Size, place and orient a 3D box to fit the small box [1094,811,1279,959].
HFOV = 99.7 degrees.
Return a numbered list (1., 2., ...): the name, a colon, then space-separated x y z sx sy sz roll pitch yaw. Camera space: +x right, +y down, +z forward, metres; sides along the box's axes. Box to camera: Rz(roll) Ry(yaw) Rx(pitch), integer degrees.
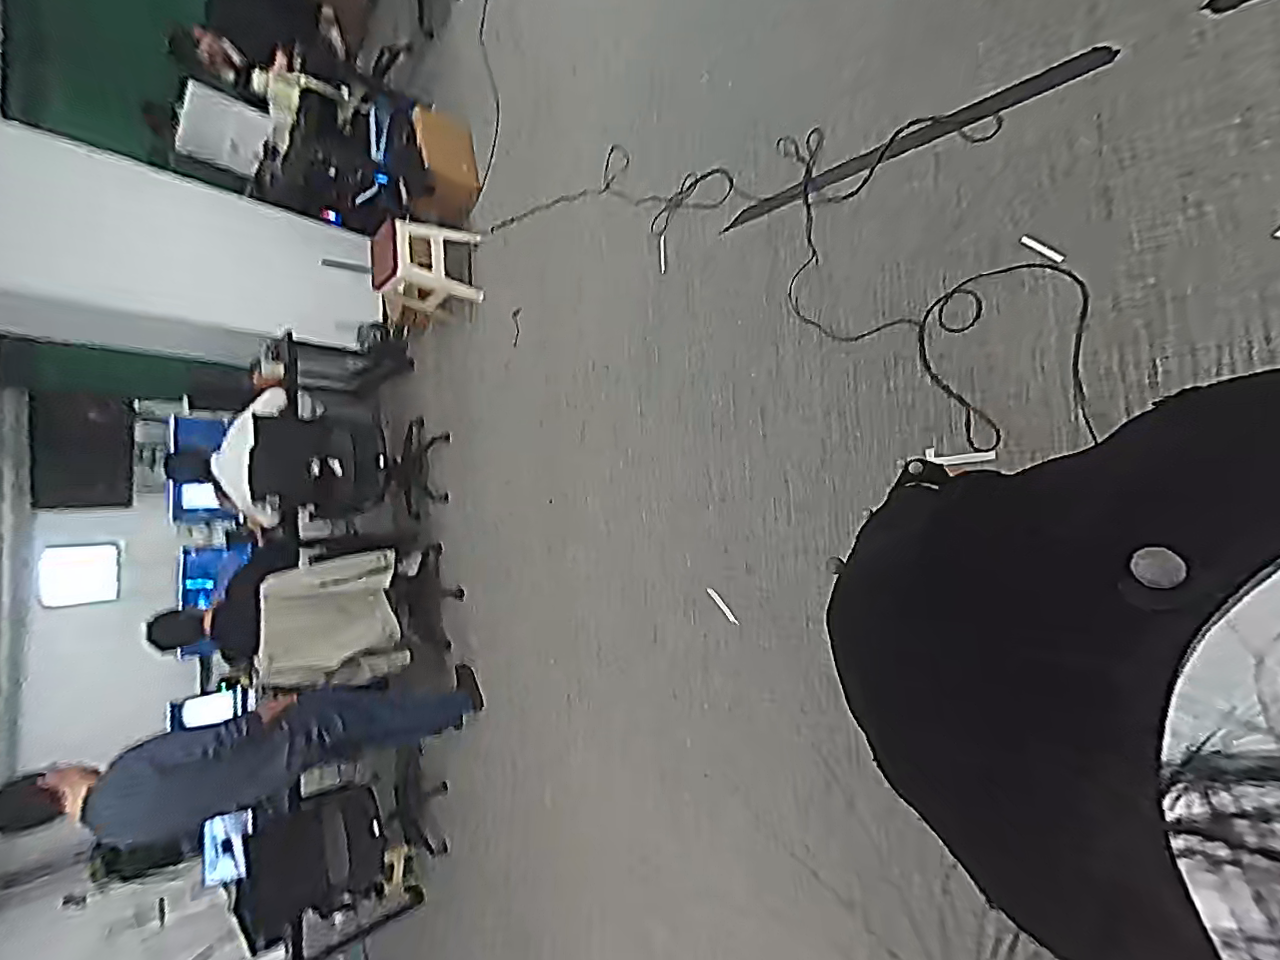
1. small box: 0.695 0.562 0.682 0.168 0.176 0.179 -7 83 44
